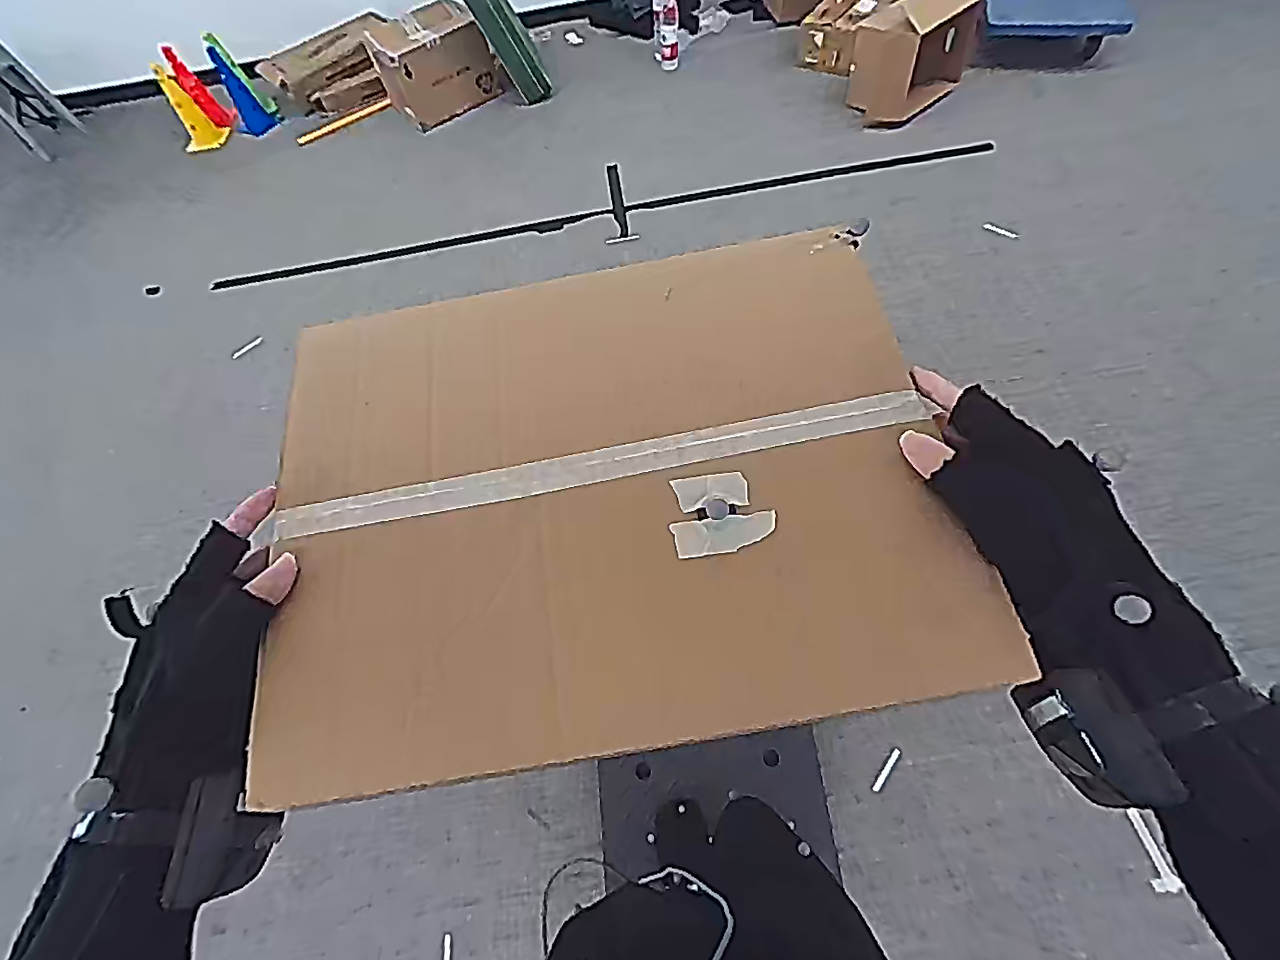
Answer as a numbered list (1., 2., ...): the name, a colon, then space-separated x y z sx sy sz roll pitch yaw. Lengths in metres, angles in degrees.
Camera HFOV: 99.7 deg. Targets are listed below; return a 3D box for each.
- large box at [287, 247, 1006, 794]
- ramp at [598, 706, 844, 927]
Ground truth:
1. large box: -0.010 0.056 0.485 0.408 0.320 0.320 -10 67 1
2. ramp: 0.131 0.432 1.278 0.509 0.206 0.991 -8 60 1
